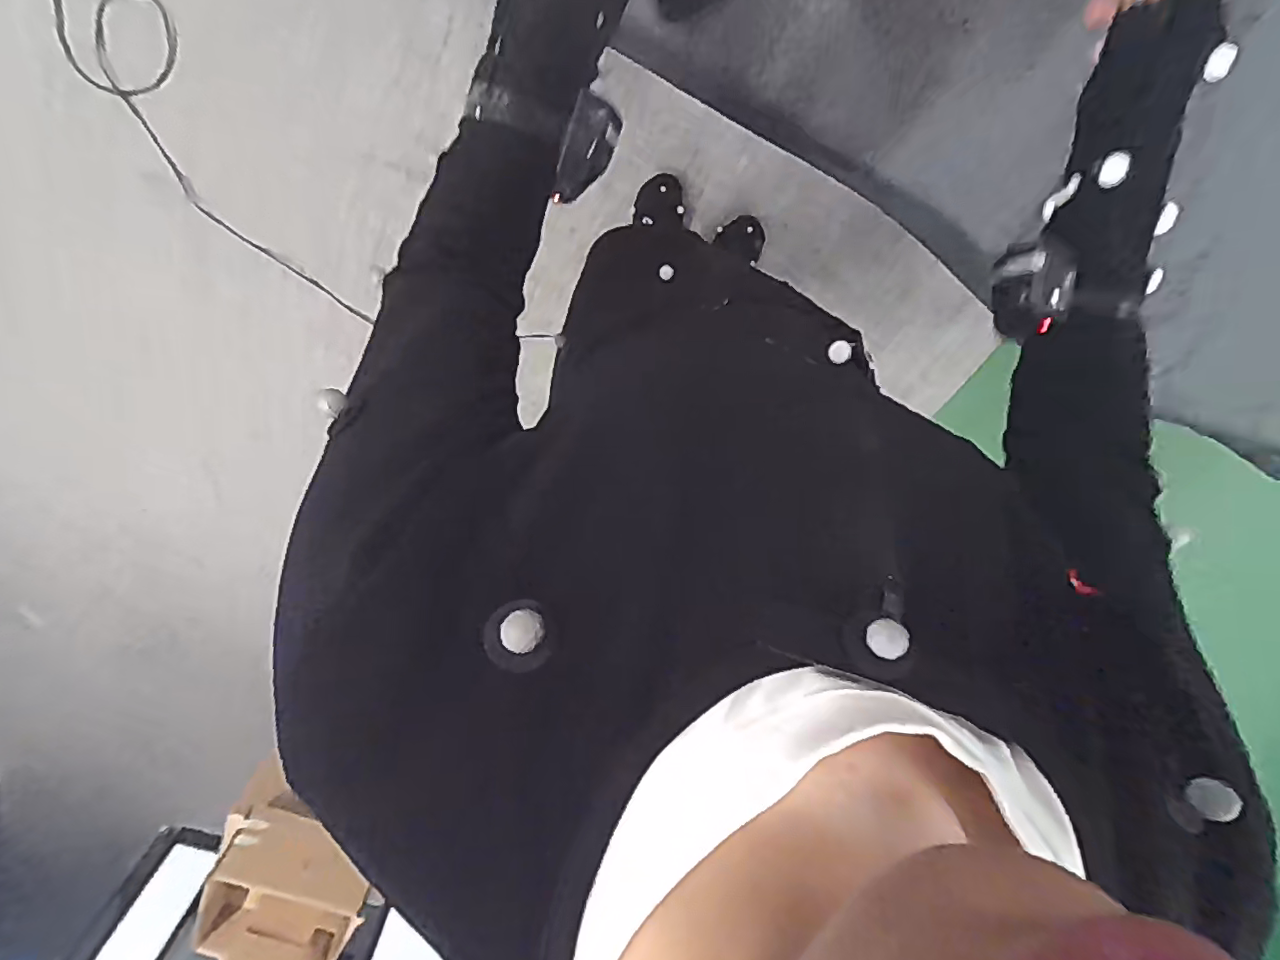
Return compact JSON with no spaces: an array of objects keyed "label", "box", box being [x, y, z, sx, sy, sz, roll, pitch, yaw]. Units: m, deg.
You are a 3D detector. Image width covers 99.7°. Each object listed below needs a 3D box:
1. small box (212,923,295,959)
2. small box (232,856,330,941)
[{"label":"small box","box":[-1.069,1.329,1.451,0.179,0.176,0.168,29,121,-12]},{"label":"small box","box":[-1.058,1.244,1.591,0.179,0.176,0.168,27,122,-11]}]
